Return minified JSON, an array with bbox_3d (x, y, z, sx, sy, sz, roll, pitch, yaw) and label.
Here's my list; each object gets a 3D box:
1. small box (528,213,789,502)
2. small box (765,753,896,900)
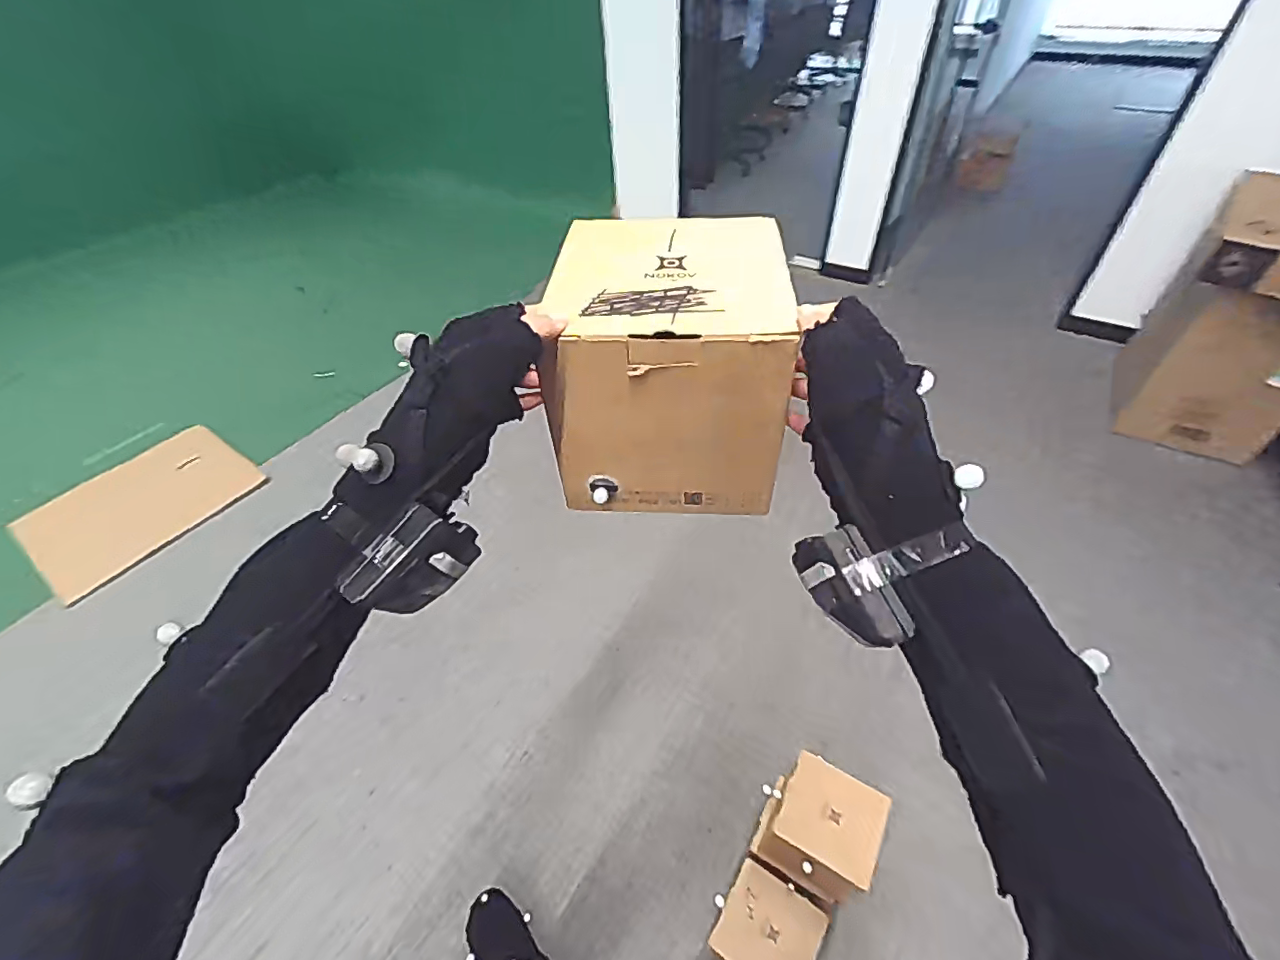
[{"bbox_3d":[0.021,-0.097,0.443,0.168,0.176,0.179,1,46,5],"label":"small box"},{"bbox_3d":[0.360,0.670,1.042,0.179,0.176,0.168,23,52,23],"label":"small box"}]
